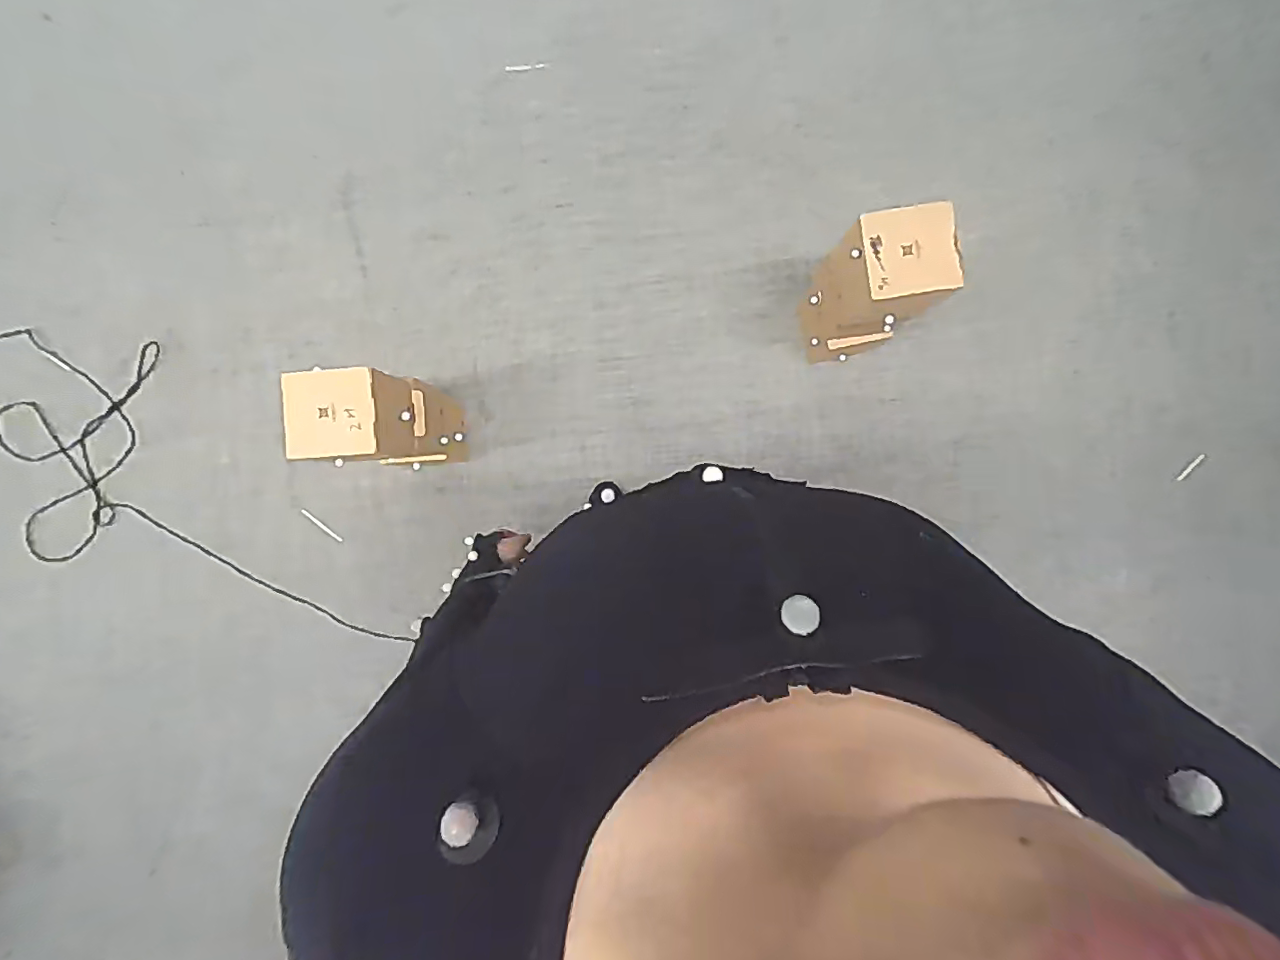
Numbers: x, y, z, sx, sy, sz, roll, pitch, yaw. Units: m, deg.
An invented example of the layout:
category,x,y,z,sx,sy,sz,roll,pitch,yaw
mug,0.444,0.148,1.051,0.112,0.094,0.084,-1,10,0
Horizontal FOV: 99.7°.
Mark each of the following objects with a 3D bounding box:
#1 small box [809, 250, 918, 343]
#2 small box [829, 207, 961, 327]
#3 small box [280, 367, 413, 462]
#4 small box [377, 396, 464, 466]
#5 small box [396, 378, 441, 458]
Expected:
category,x,y,z,sx,sy,sz,roll,pitch,yaw
small box,0.511,-0.427,1.253,0.179,0.176,0.168,-8,89,2
small box,0.505,-0.420,1.089,0.179,0.176,0.168,-8,89,0
small box,-0.582,-0.125,1.089,0.179,0.176,0.168,-4,90,1
small box,-0.570,-0.126,1.418,0.179,0.176,0.168,-4,90,1
small box,-0.574,-0.138,1.253,0.179,0.176,0.168,-4,89,2
